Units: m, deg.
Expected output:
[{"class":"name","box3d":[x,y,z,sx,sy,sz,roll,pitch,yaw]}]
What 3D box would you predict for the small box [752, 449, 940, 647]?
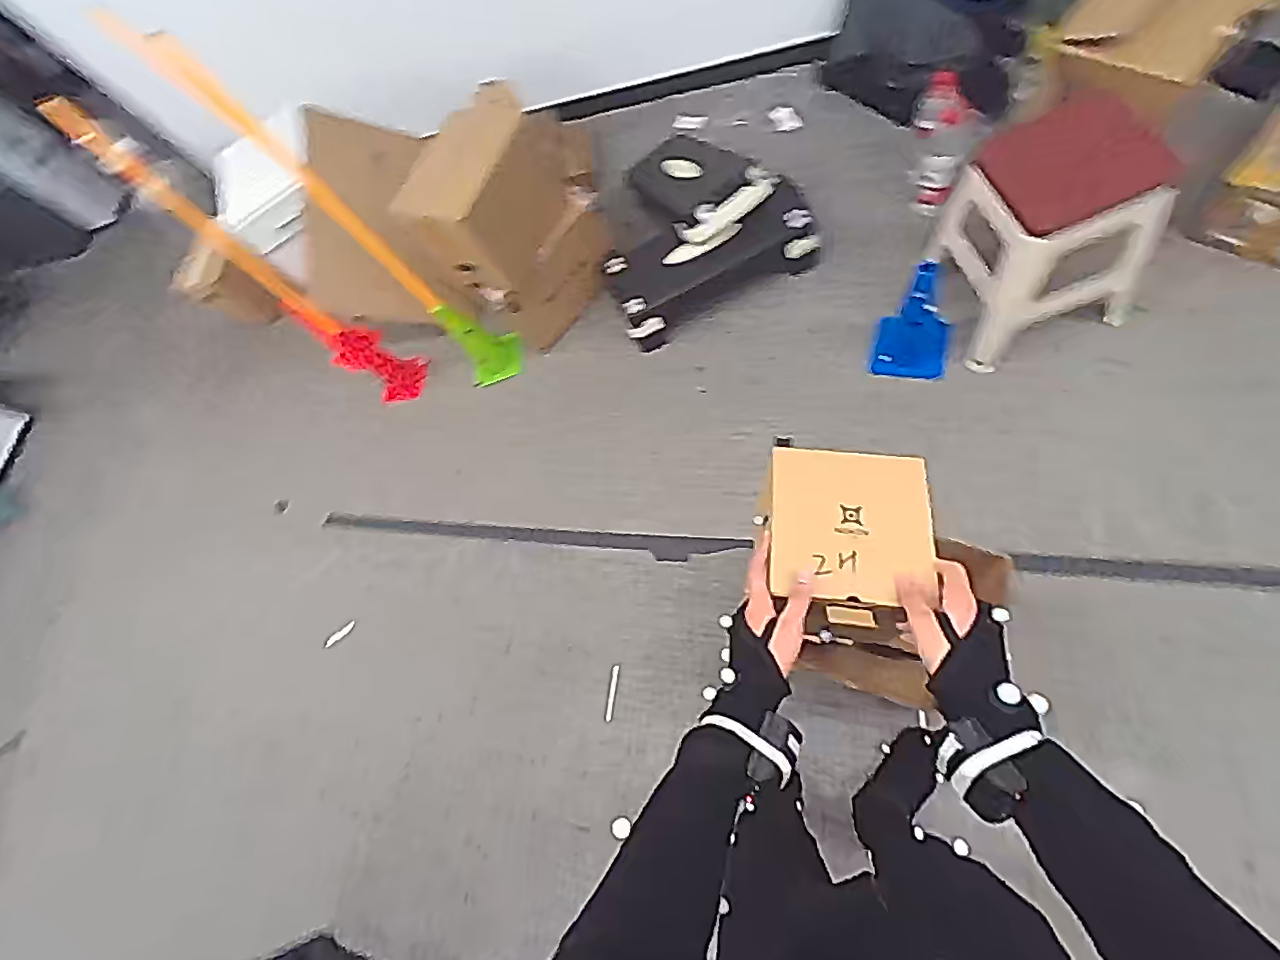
[{"class":"small box","box3d":[0.223,0.084,0.634,0.168,0.176,0.179,4,63,7]}]
